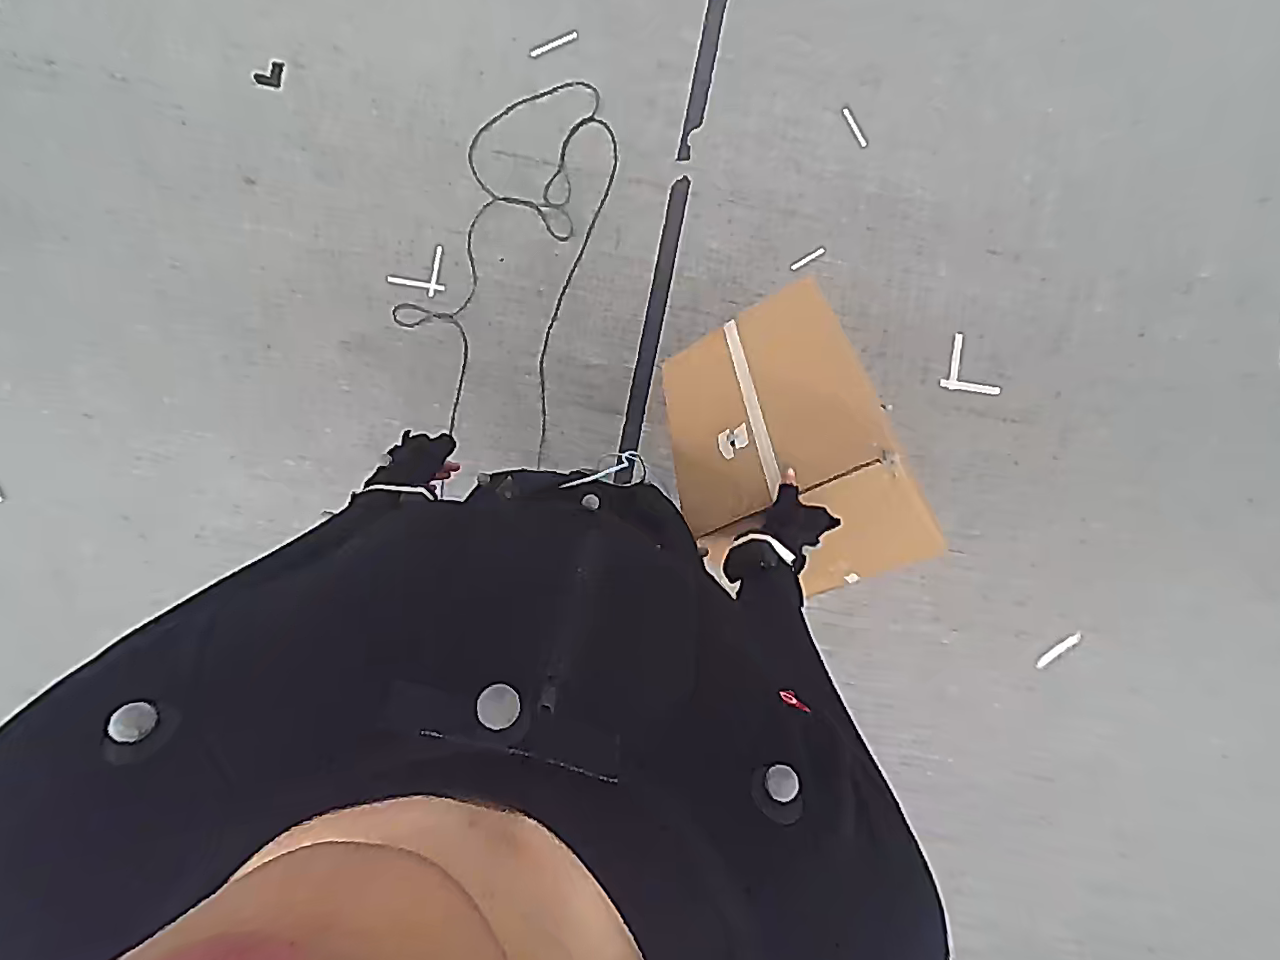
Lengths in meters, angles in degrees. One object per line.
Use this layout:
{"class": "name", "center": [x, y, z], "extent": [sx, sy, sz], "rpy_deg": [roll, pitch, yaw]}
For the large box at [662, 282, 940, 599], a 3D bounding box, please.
{"class": "large box", "center": [0.271, -0.058, 0.968], "extent": [0.320, 0.320, 0.408], "rpy_deg": [-28, 48, 26]}
